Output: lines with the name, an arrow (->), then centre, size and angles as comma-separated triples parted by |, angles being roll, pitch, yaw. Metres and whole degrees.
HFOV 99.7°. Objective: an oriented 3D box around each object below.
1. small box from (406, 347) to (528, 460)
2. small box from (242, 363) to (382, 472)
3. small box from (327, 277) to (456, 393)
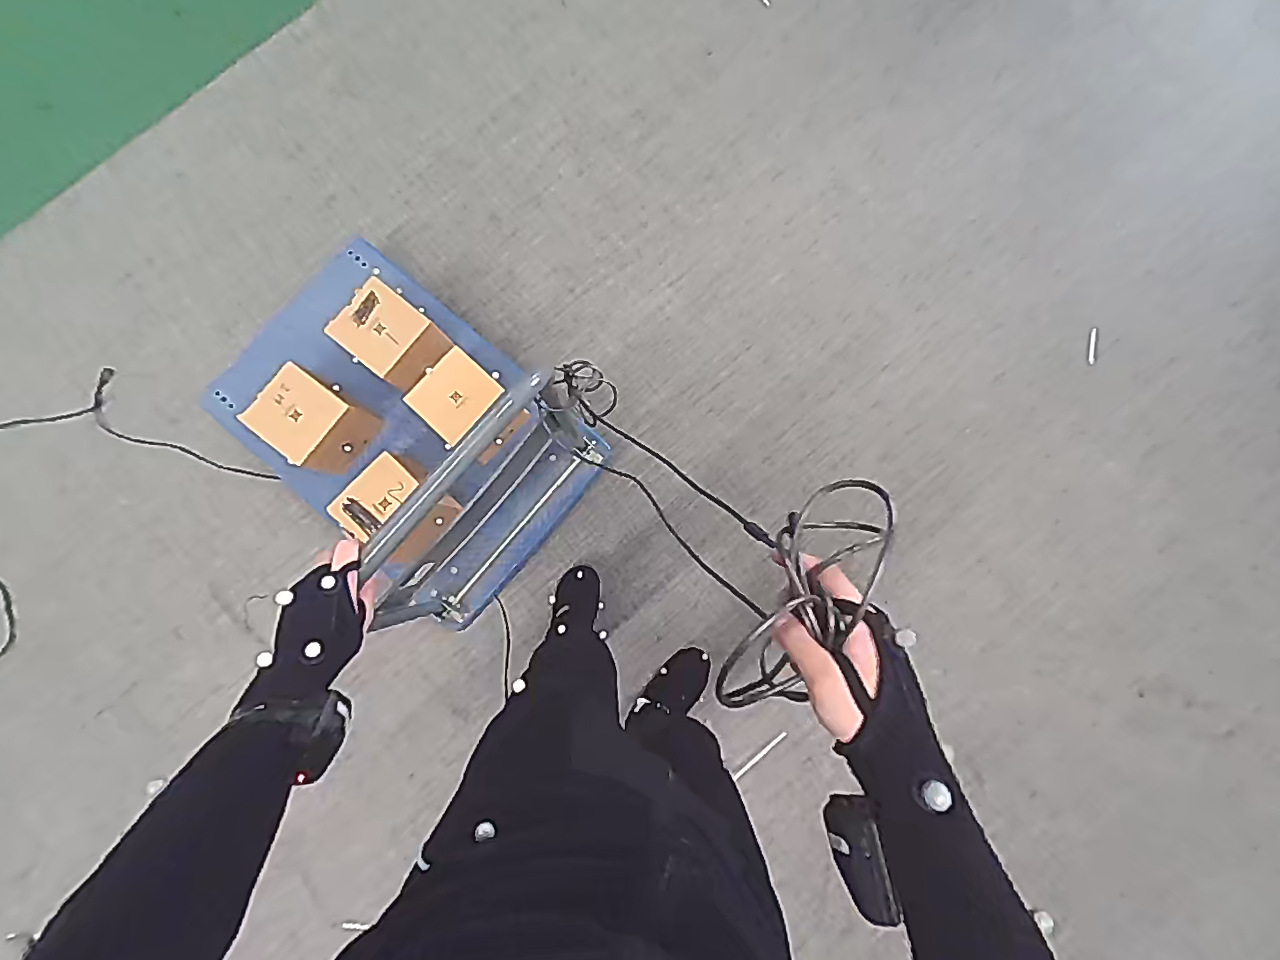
small box -> -0.384, -0.163, 1.230 | 0.179, 0.176, 0.168 | 42, 86, 6
small box -> -0.733, -0.132, 1.234 | 0.179, 0.176, 0.168 | 37, 85, 5
small box -> -0.565, -0.324, 1.252 | 0.179, 0.176, 0.168 | 38, 87, 5
